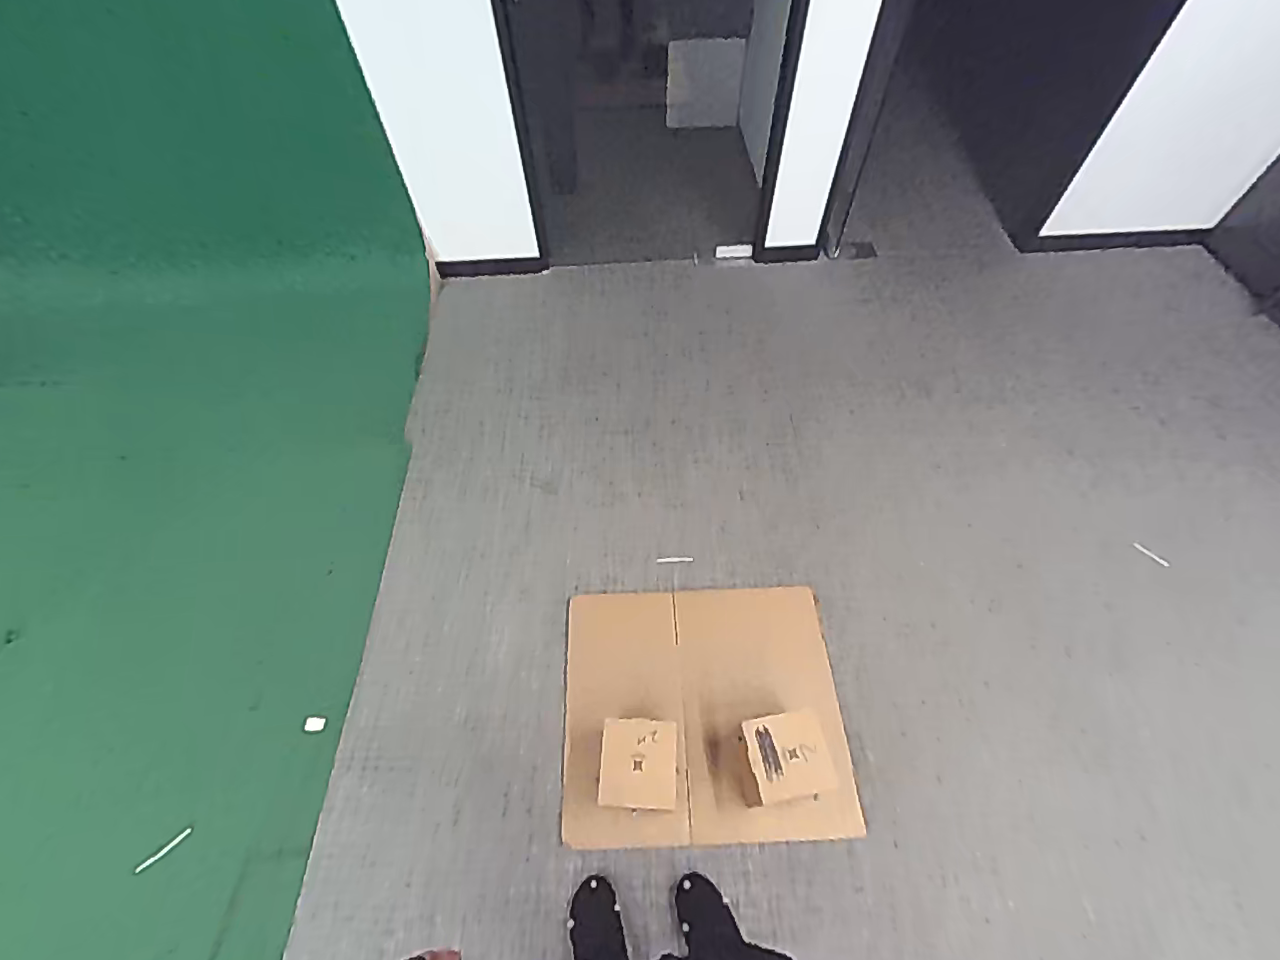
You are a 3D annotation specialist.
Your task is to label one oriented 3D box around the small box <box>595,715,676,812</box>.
[{"bbox_3d":[-0.005,0.648,1.232,0.168,0.176,0.179,3,56,2],"label":"small box"}]
